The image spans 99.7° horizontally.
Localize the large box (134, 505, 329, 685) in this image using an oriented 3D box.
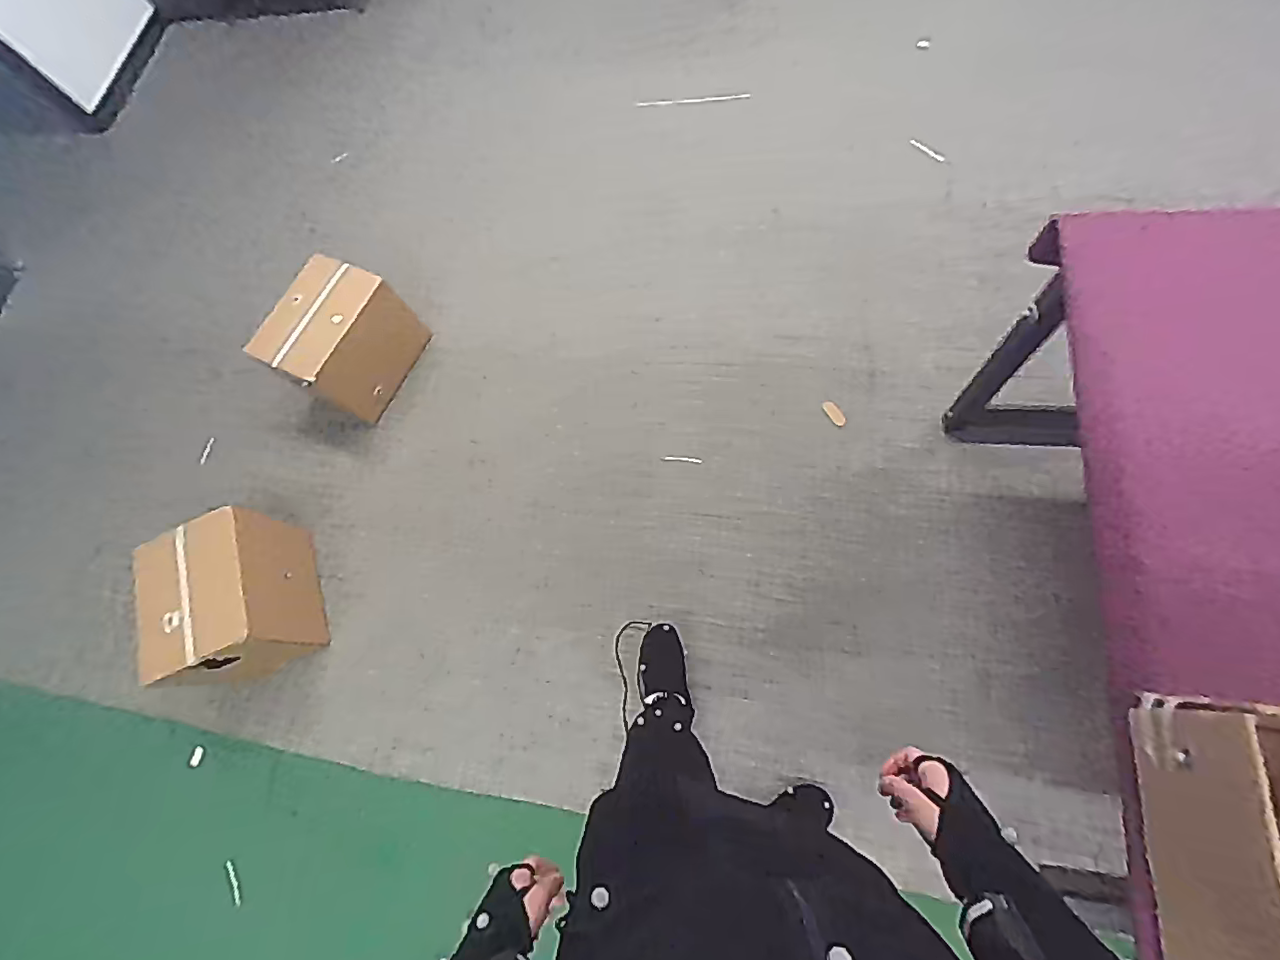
[{"bbox_3d":[-1.187,0.343,1.590,0.320,0.320,0.408,-25,69,1],"label":"large box"}]
